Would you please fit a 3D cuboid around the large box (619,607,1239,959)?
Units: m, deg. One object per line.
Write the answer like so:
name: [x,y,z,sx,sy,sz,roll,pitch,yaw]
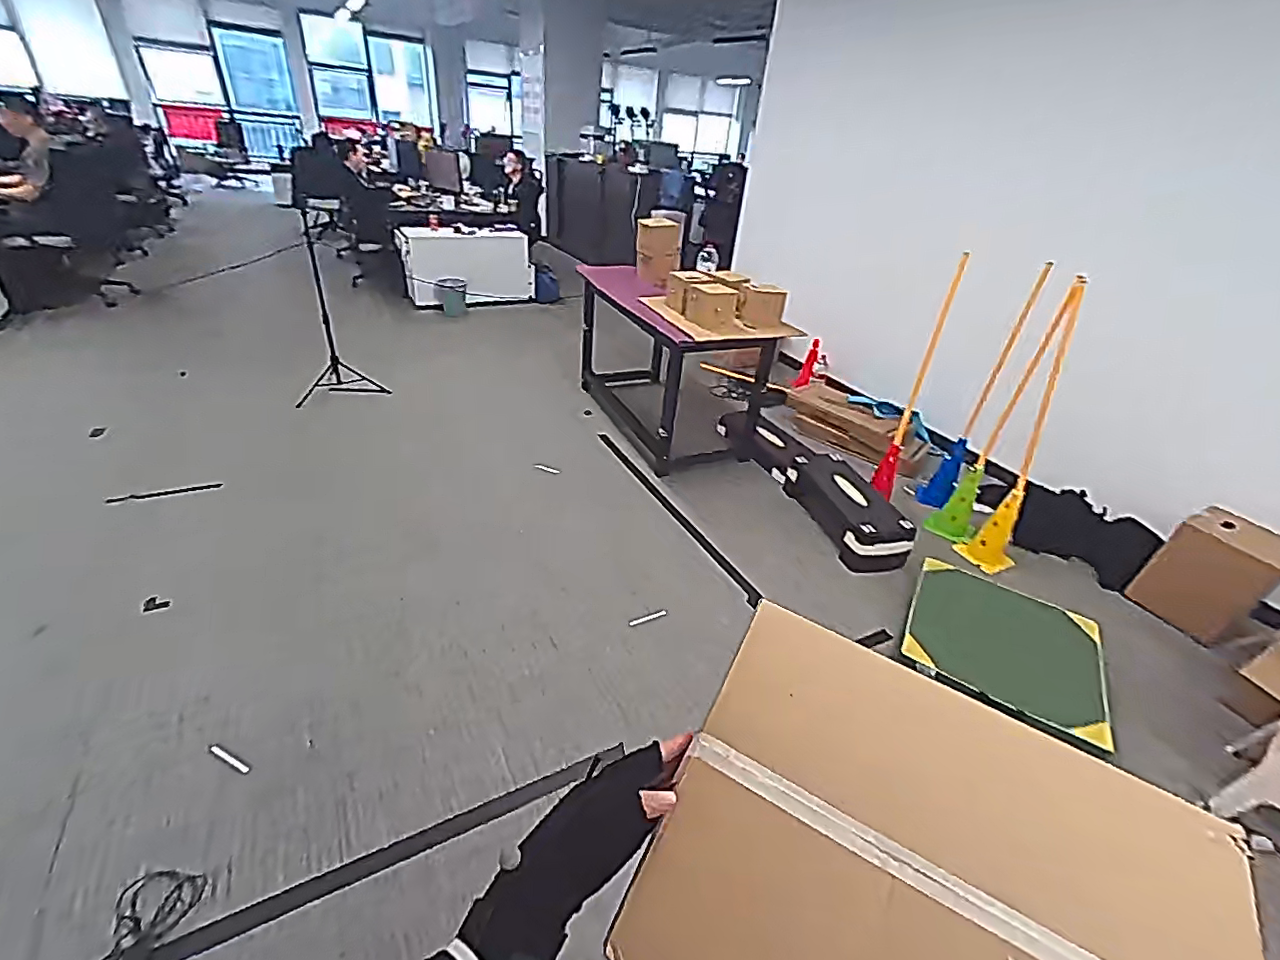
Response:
large box: [0.223,0.399,0.532,0.408,0.320,0.320,24,55,17]
